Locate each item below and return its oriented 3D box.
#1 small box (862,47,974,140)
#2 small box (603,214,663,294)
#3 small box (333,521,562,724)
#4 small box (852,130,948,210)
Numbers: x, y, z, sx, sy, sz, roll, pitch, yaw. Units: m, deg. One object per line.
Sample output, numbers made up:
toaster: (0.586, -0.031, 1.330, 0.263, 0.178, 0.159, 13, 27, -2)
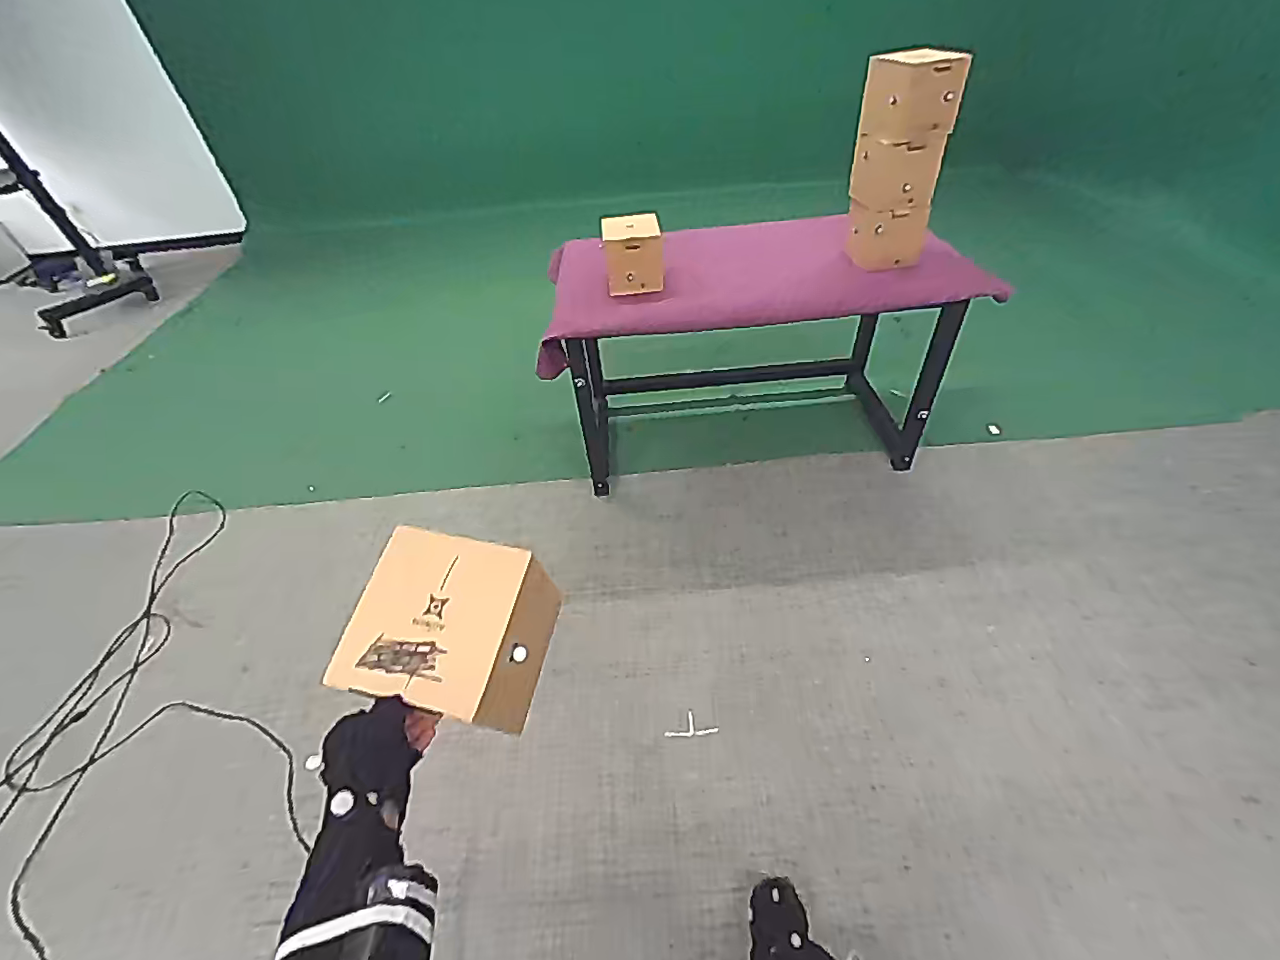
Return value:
small box: (0.697, -0.982, 1.380, 0.168, 0.176, 0.179, -15, 44, -9)
small box: (-0.021, -0.679, 1.626, 0.168, 0.176, 0.179, -6, 46, -1)
small box: (-0.203, 0.172, 0.631, 0.168, 0.176, 0.179, 10, 63, 10)
small box: (0.704, -0.865, 1.493, 0.168, 0.176, 0.179, -8, 44, 0)
